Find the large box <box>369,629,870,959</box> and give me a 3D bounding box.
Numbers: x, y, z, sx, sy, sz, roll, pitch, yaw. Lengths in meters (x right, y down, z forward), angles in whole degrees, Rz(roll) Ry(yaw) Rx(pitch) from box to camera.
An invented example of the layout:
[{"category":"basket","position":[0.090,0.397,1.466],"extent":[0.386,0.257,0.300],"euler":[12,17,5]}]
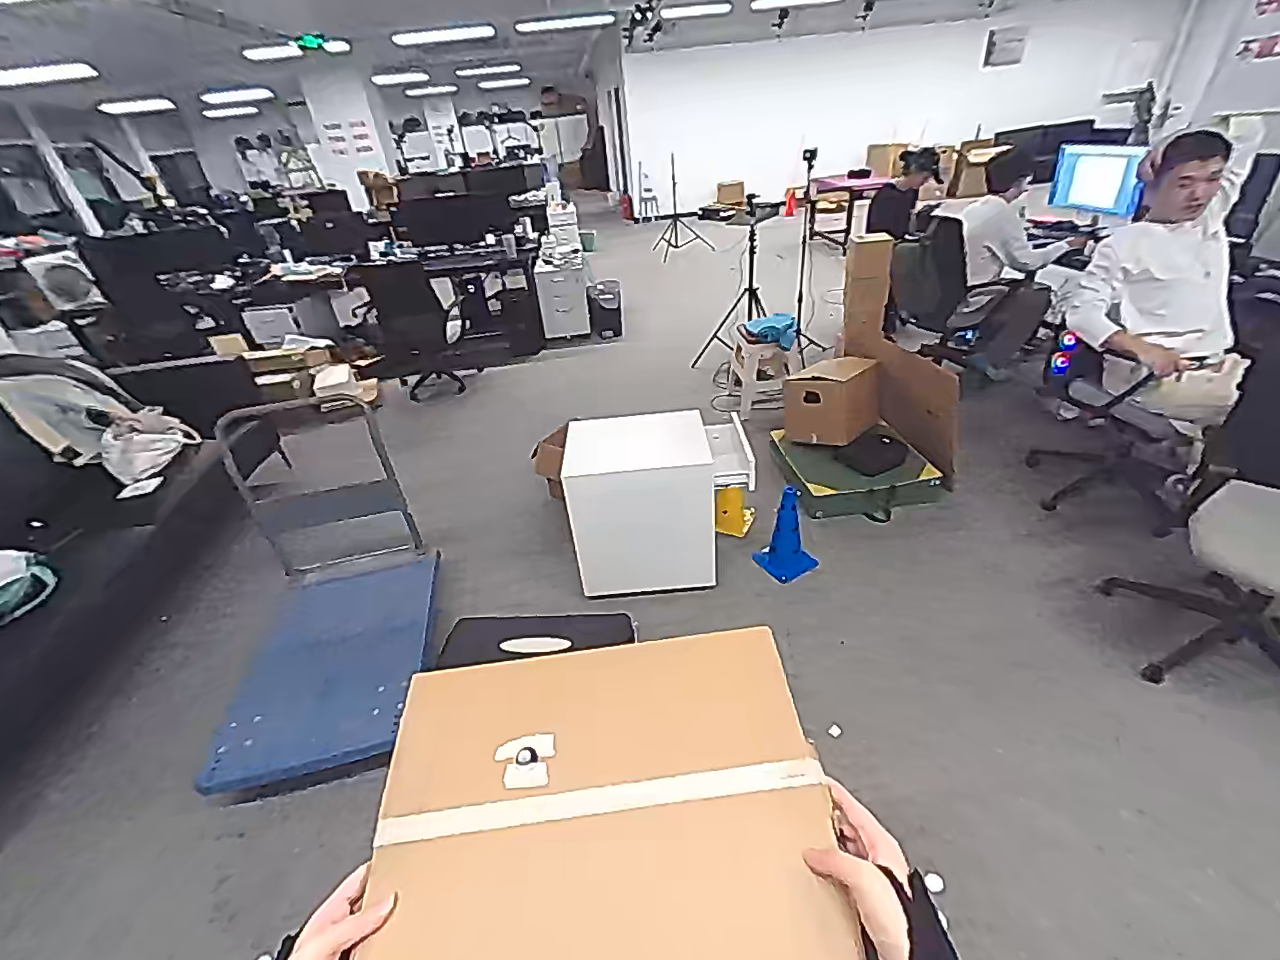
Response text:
[{"category":"large box","position":[-0.016,0.411,0.605],"extent":[0.408,0.320,0.320],"euler":[-10,42,1]}]
